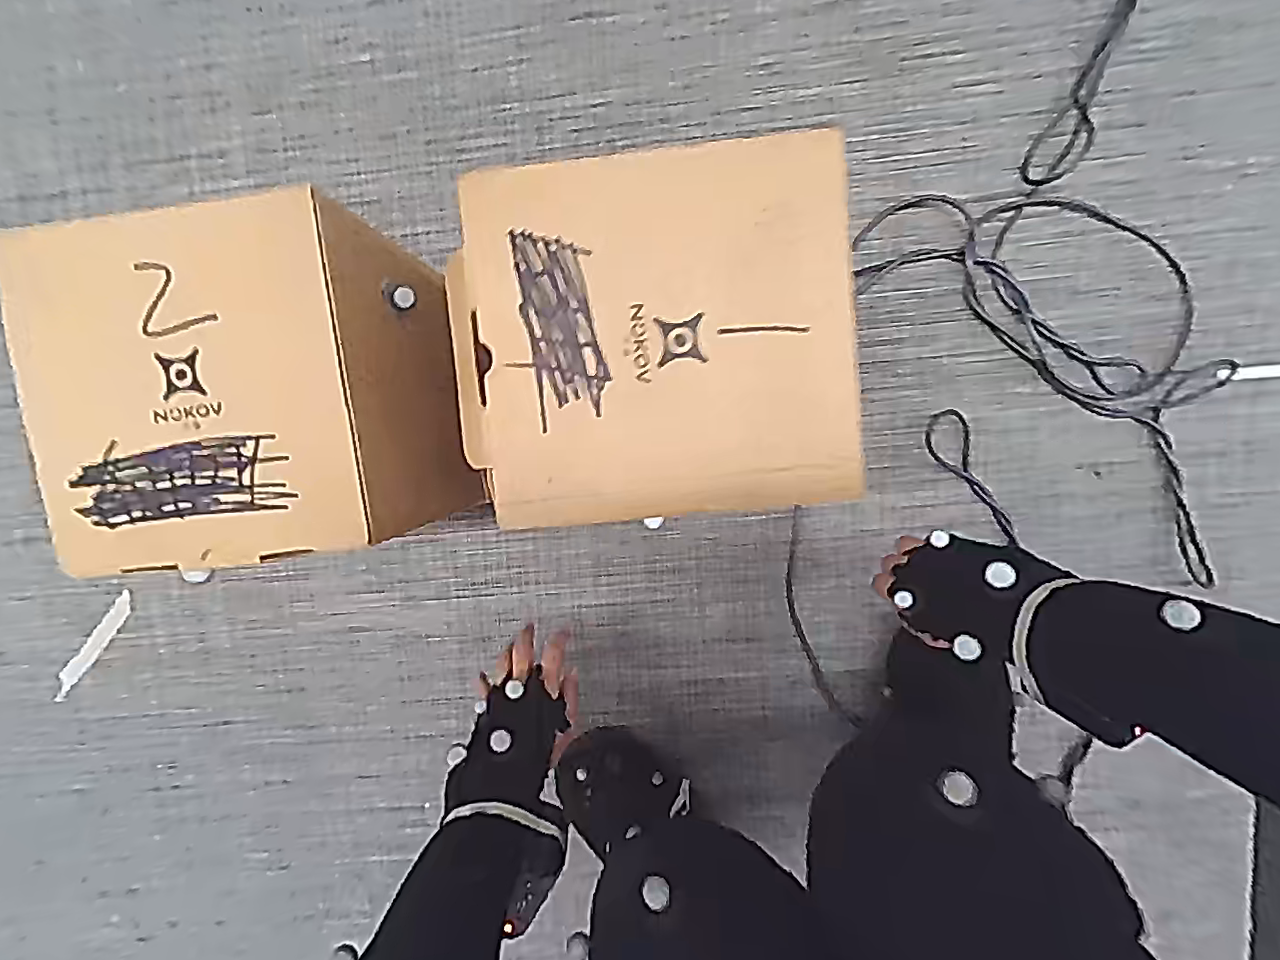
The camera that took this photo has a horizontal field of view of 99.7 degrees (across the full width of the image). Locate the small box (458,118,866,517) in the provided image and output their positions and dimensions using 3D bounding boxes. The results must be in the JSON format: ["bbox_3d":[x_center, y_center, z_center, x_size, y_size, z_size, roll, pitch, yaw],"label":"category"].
[{"bbox_3d":[0.015,-0.074,0.322,0.179,0.176,0.168,-5,95,3],"label":"small box"}]
